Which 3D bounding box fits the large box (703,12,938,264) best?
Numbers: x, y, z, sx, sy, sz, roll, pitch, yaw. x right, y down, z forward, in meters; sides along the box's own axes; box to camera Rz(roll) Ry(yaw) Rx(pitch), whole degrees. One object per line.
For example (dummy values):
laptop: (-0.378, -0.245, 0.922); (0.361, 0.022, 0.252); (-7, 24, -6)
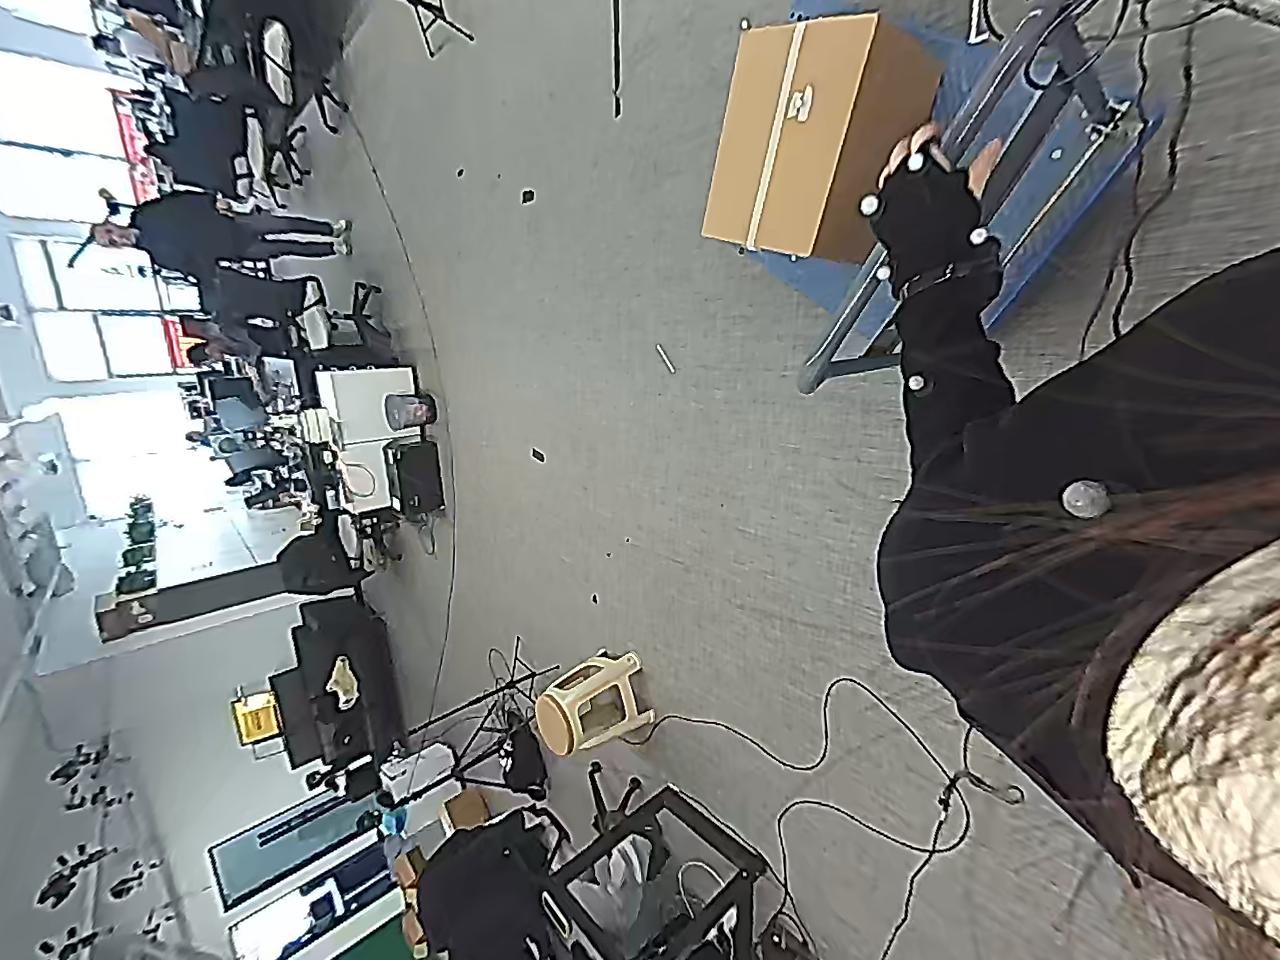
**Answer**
large box: (0.390, -0.729, 1.215); (0.320, 0.320, 0.408); (33, 124, 38)
